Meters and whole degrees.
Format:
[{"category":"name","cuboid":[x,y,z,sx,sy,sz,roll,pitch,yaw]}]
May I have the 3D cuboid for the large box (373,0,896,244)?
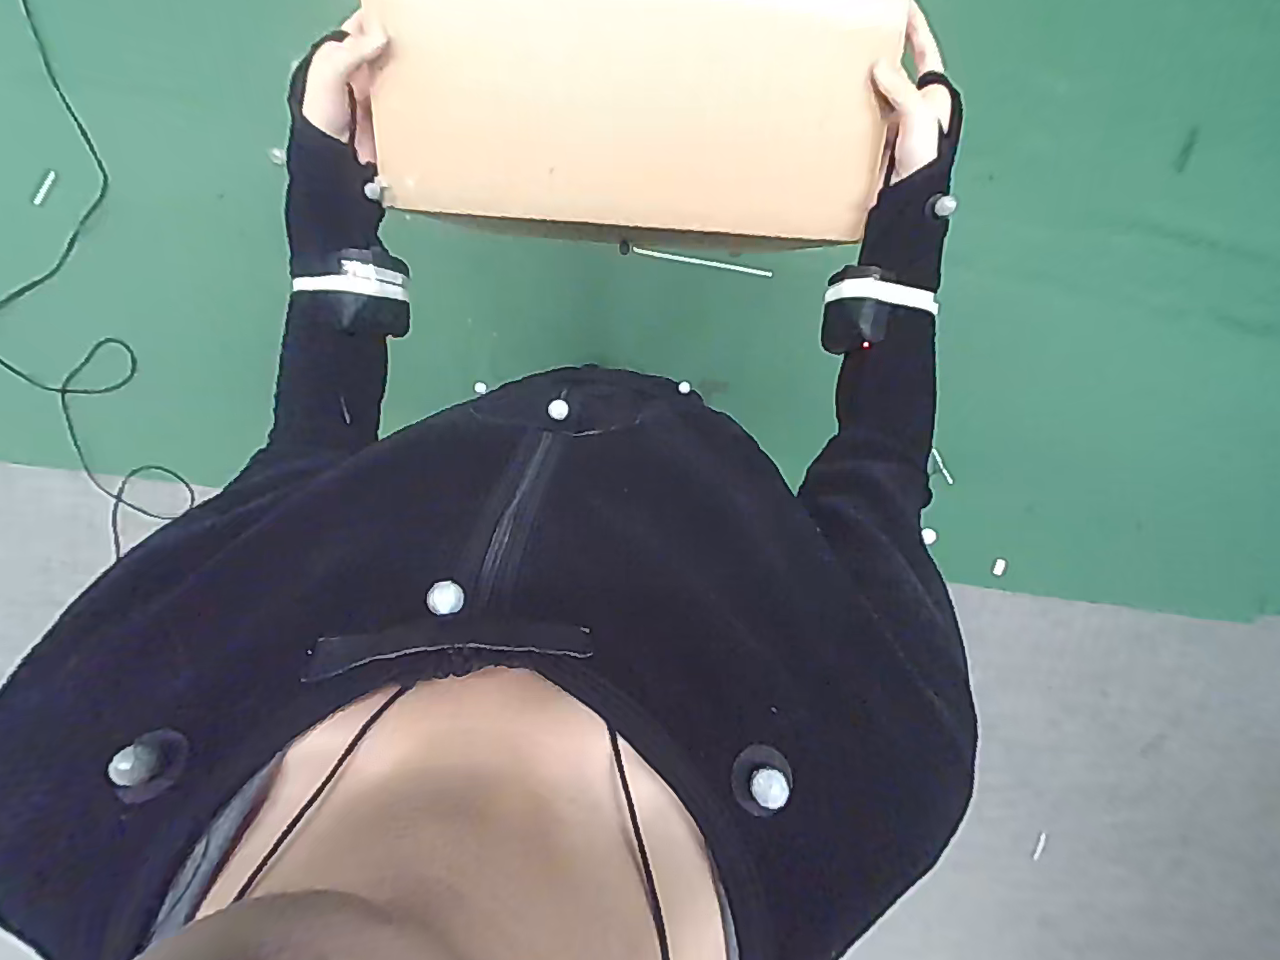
[{"category":"large box","cuboid":[-0.007,-0.416,0.547,0.408,0.320,0.320,2,110,-4]}]
